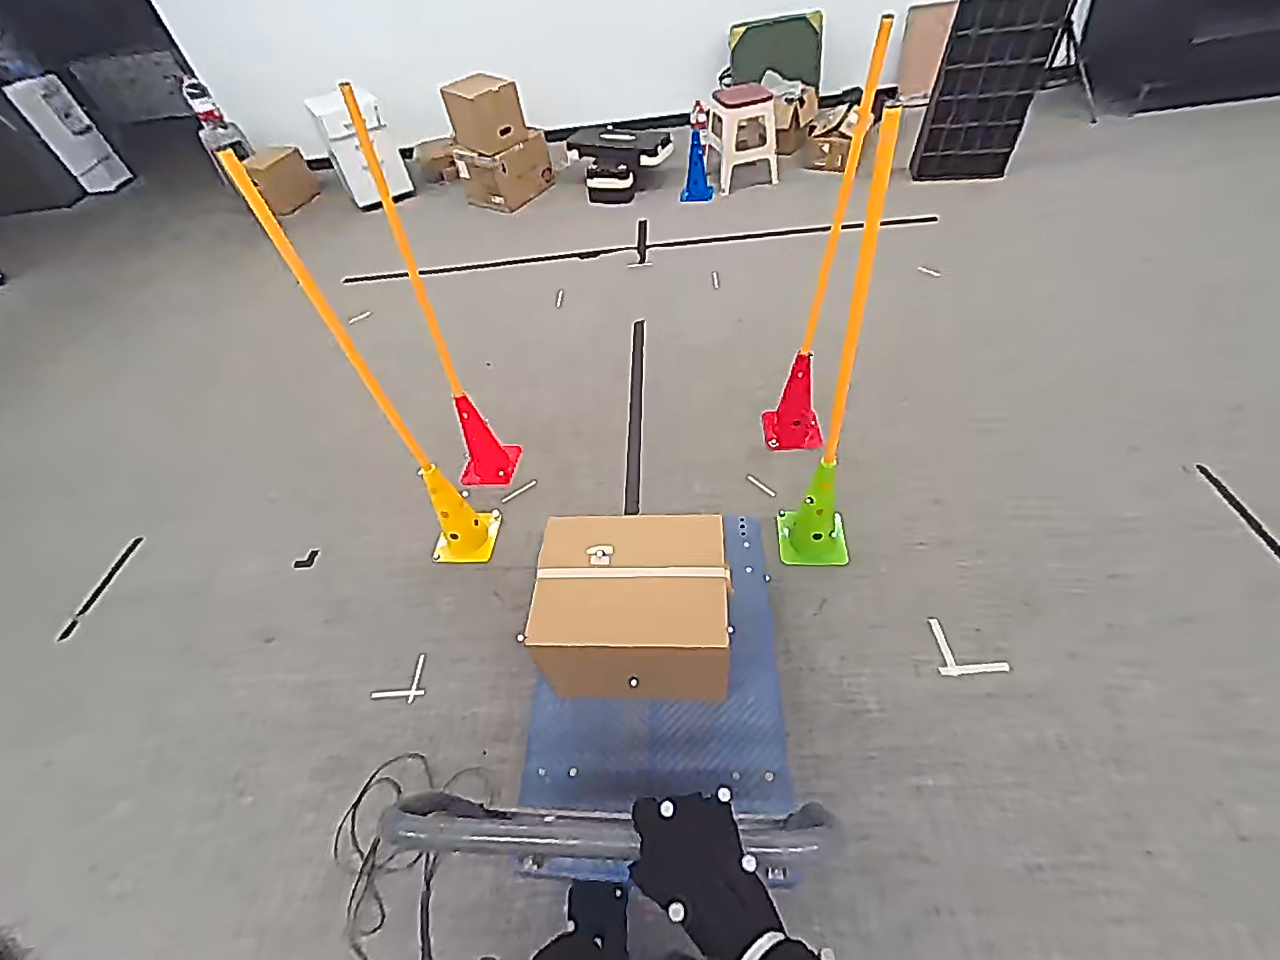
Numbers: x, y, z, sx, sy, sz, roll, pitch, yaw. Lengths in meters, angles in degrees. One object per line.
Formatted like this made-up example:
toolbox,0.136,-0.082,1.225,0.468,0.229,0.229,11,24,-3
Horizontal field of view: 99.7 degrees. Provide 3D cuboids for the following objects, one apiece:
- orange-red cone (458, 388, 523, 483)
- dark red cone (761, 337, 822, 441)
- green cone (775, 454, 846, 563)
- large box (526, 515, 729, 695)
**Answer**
orange-red cone,-0.576,-0.181,1.931,0.198,0.360,0.199,4,49,9
dark red cone,0.548,-0.318,1.875,0.201,0.394,0.202,-2,50,3
green cone,0.521,0.064,1.577,0.202,0.368,0.200,1,50,6
large box,-0.005,0.298,1.258,0.408,0.320,0.320,-1,50,8
